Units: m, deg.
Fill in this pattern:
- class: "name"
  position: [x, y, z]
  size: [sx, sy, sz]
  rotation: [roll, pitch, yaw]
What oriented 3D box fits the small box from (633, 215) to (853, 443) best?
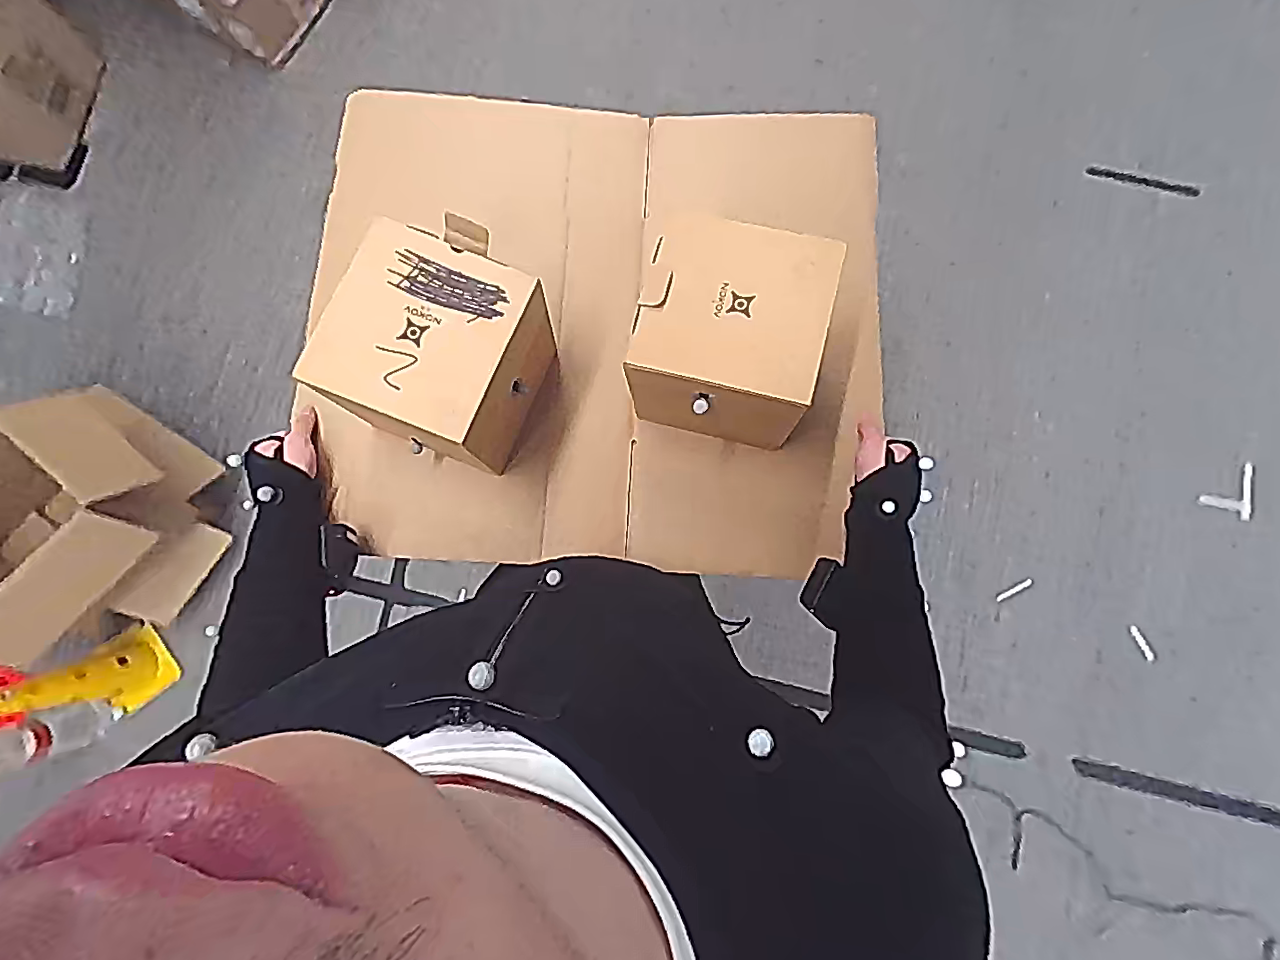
- class: "small box"
  position: [0.106, -0.150, 0.591]
  size: [0.179, 0.176, 0.168]
  rotation: [15, 81, 9]
